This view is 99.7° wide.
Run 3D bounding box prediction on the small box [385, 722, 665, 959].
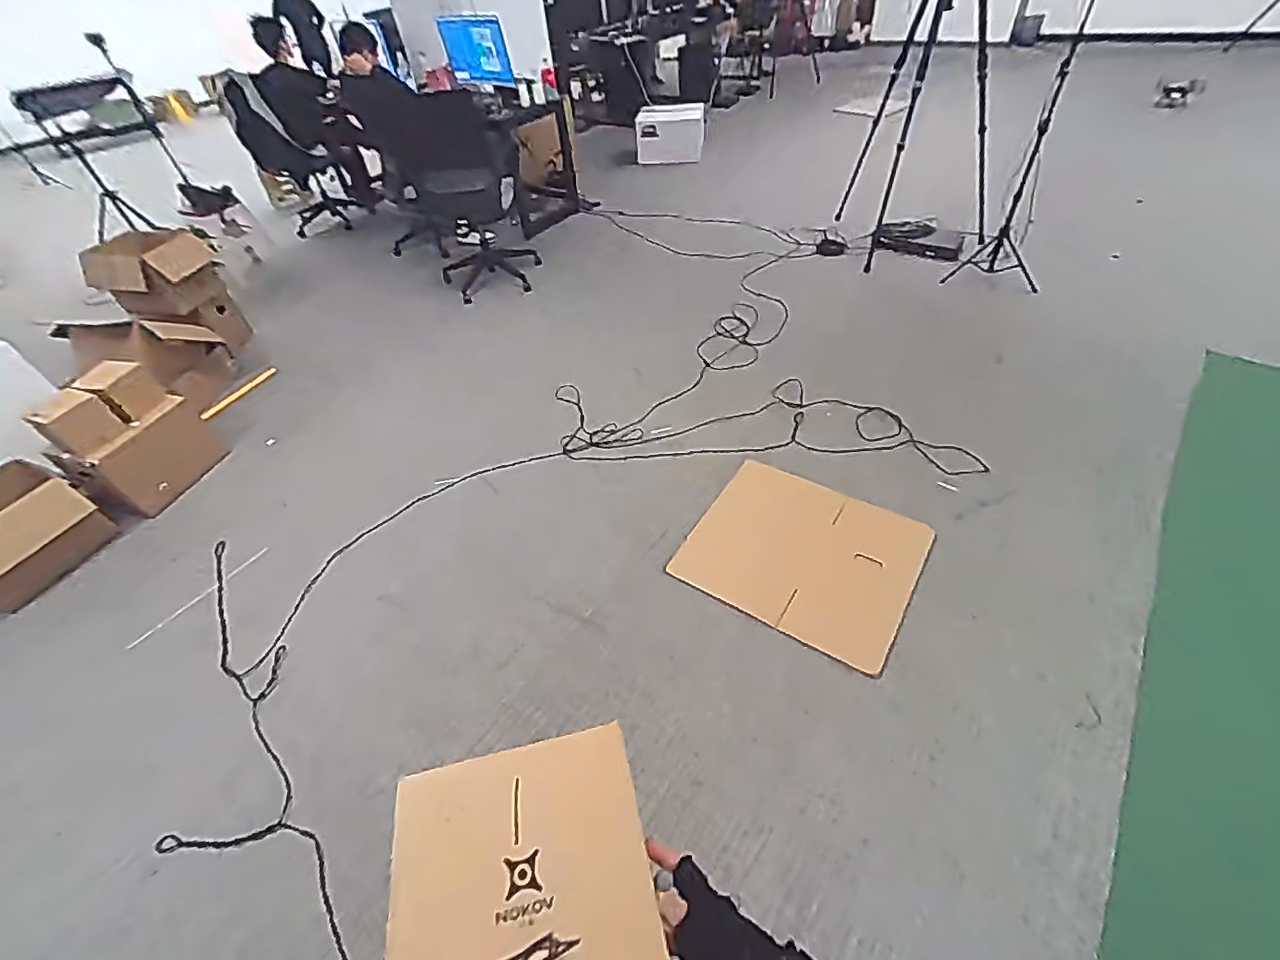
[{"bbox_3d":[-0.074,0.314,0.404,0.168,0.176,0.179,-11,48,-9],"label":"small box"}]
